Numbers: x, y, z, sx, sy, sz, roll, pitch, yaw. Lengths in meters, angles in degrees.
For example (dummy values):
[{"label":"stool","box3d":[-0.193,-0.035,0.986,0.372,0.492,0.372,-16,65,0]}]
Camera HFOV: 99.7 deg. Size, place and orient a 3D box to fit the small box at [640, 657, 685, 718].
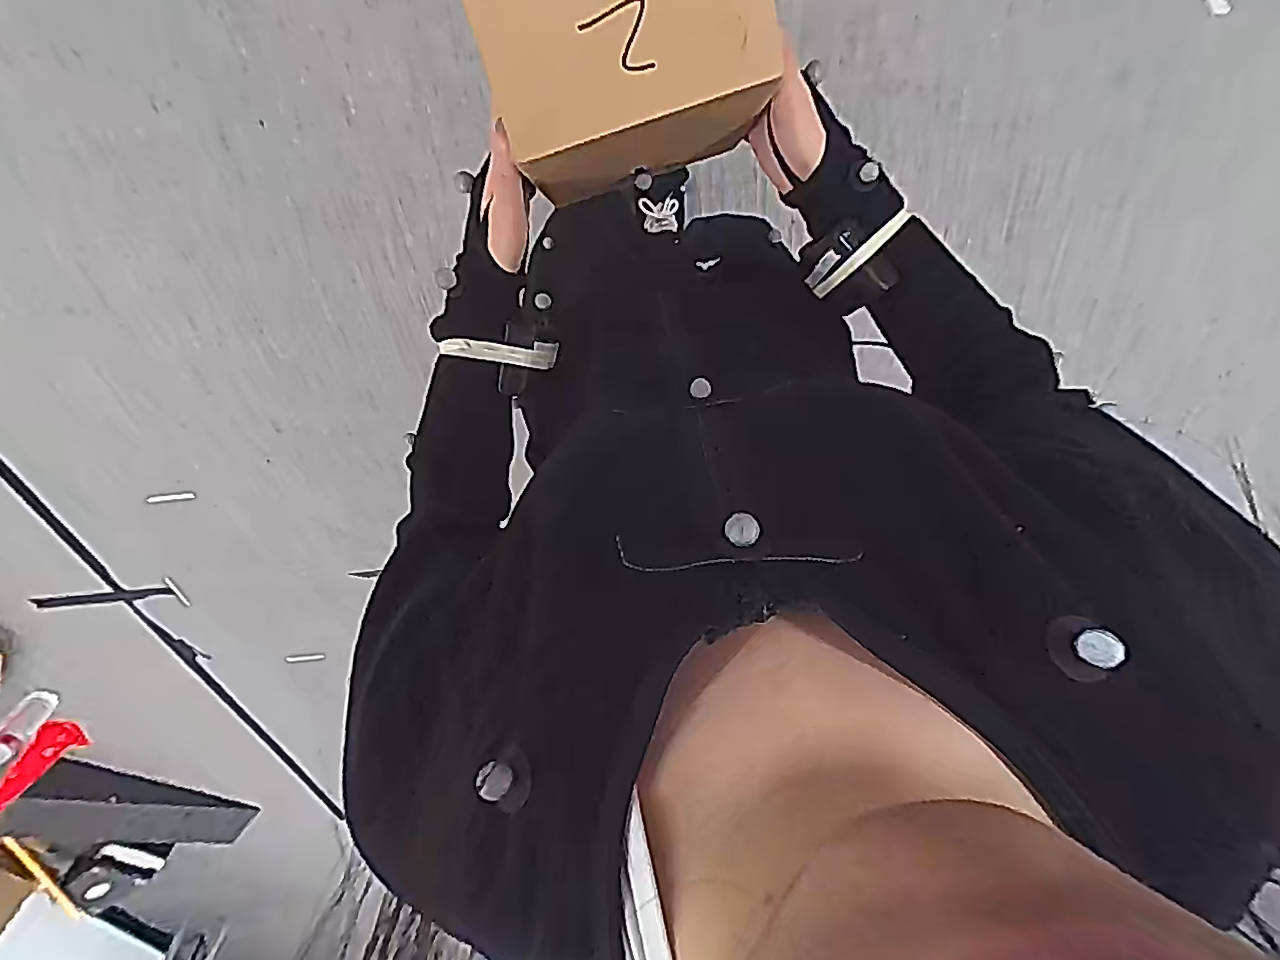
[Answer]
[{"label":"small box","box3d":[0.090,0.832,2.181,0.168,0.176,0.179,-5,126,2]}]
